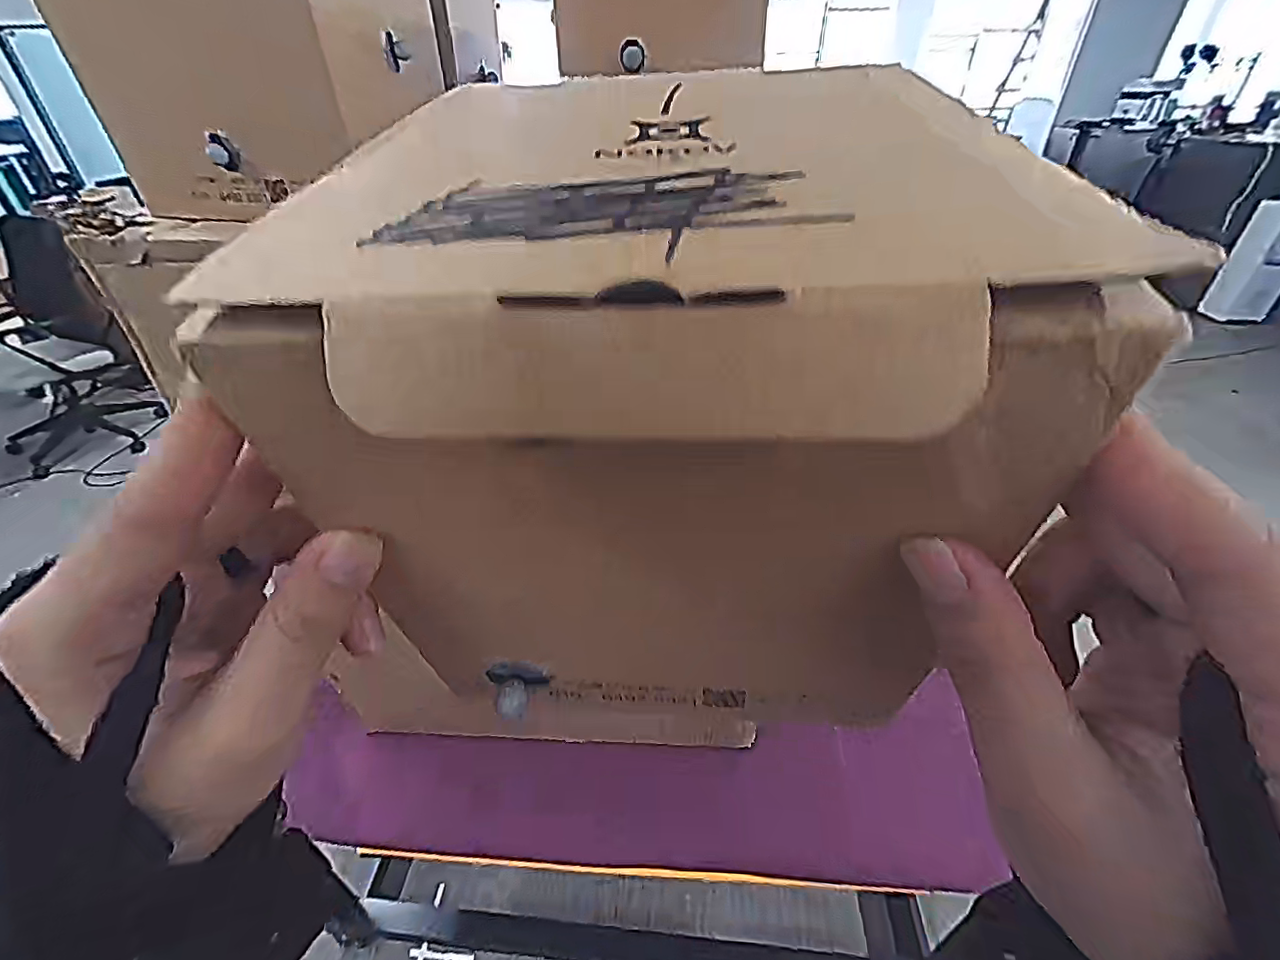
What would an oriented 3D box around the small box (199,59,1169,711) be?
[{"bbox_3d":[0.012,-0.031,0.203,0.168,0.176,0.179,1,46,6],"label":"small box"}]
